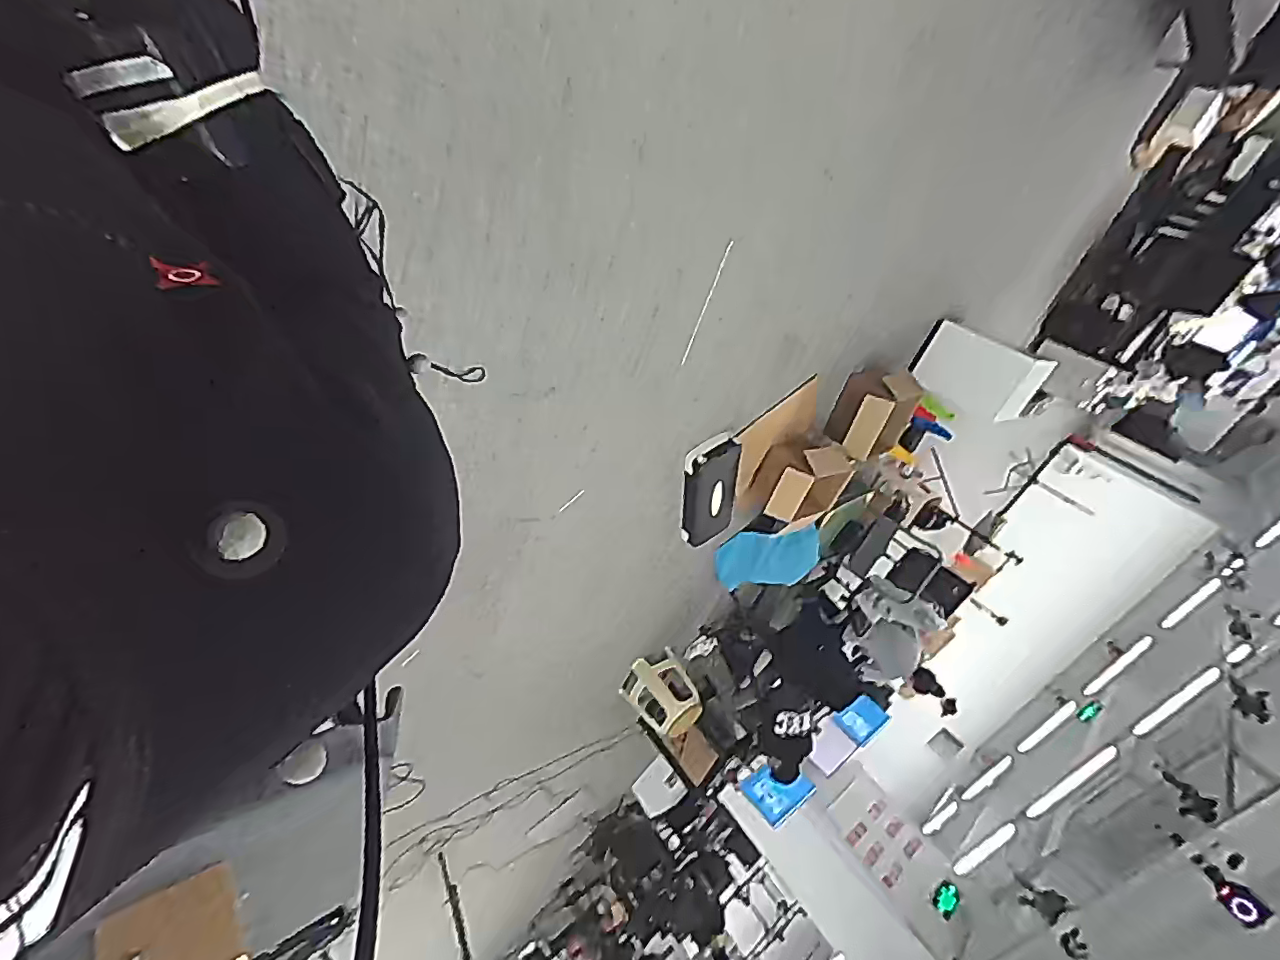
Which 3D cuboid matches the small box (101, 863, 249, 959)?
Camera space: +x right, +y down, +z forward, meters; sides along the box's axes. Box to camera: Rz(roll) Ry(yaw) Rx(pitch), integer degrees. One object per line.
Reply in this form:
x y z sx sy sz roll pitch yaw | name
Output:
-0.786 0.813 0.922 0.179 0.176 0.168 -12 134 -41 | small box
